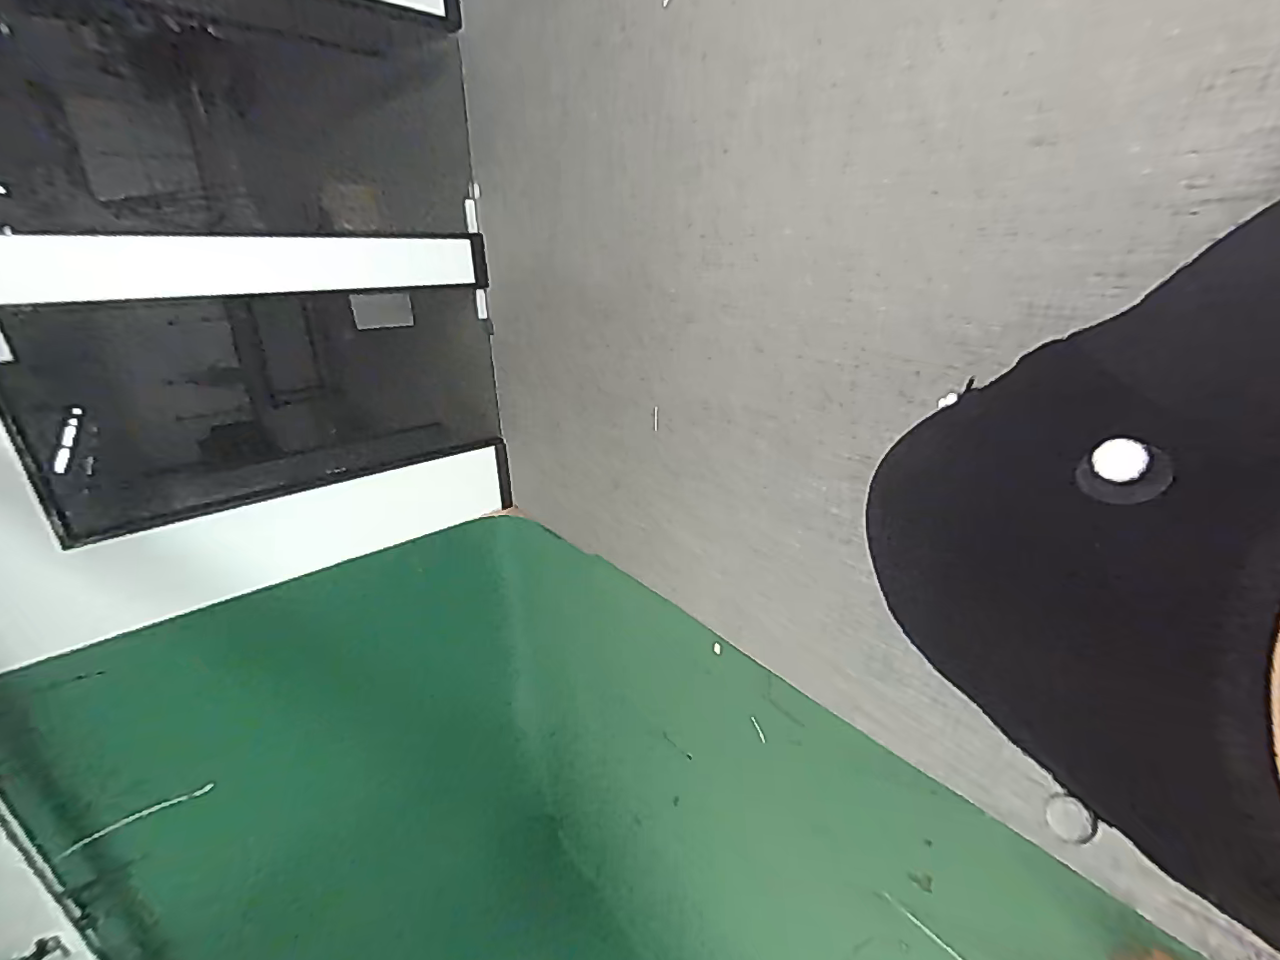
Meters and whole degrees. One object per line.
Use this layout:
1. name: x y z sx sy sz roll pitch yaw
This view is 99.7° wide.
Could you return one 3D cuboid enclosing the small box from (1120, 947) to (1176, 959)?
1. small box: 1.271 1.288 1.305 0.168 0.176 0.179 41 134 34
